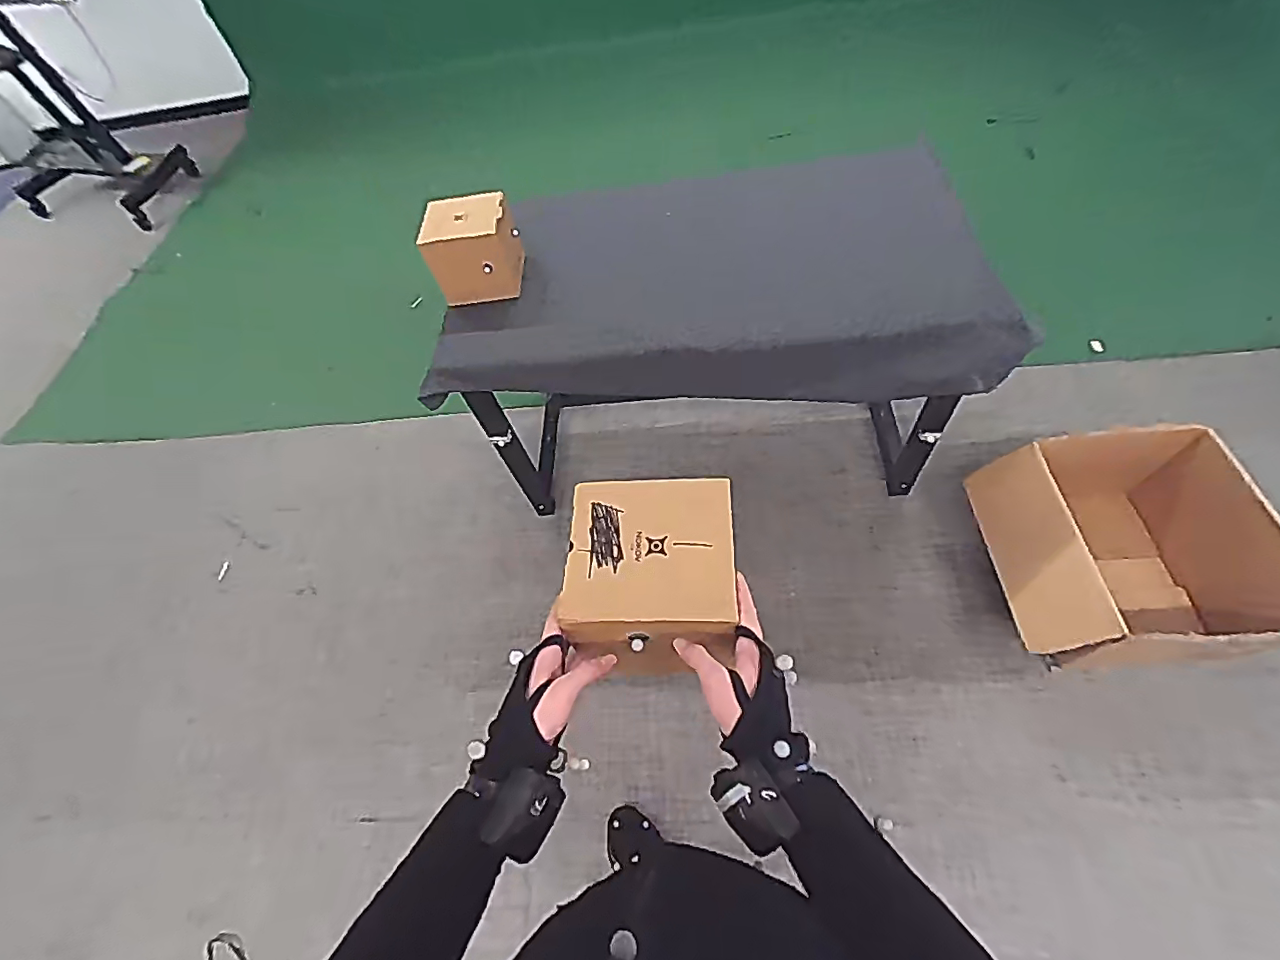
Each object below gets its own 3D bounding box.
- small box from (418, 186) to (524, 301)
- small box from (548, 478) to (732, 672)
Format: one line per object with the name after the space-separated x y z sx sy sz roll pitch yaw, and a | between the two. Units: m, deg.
-0.375 -0.538 1.241 0.179 0.176 0.168 -7 57 5 | small box
0.015 0.112 0.619 0.179 0.176 0.168 1 56 10 | small box
